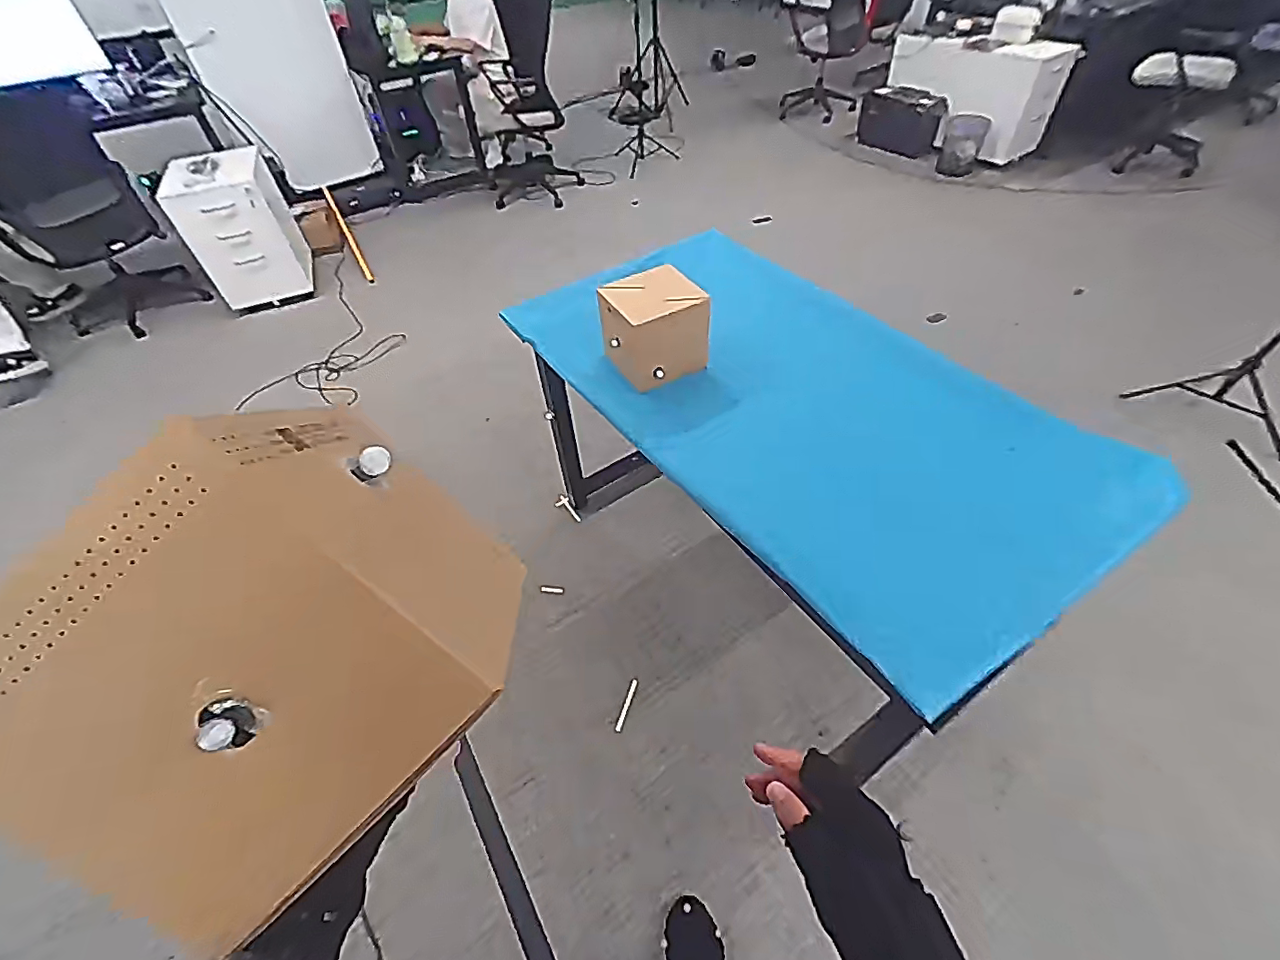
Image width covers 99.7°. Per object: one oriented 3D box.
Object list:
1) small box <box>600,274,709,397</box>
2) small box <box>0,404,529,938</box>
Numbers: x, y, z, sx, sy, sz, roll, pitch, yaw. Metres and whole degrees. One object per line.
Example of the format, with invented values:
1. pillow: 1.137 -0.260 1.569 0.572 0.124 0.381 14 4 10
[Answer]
1. small box: 0.029 -0.312 1.146 0.179 0.176 0.168 -25 52 -17
2. small box: -0.187 0.078 0.302 0.179 0.176 0.168 -46 12 1
